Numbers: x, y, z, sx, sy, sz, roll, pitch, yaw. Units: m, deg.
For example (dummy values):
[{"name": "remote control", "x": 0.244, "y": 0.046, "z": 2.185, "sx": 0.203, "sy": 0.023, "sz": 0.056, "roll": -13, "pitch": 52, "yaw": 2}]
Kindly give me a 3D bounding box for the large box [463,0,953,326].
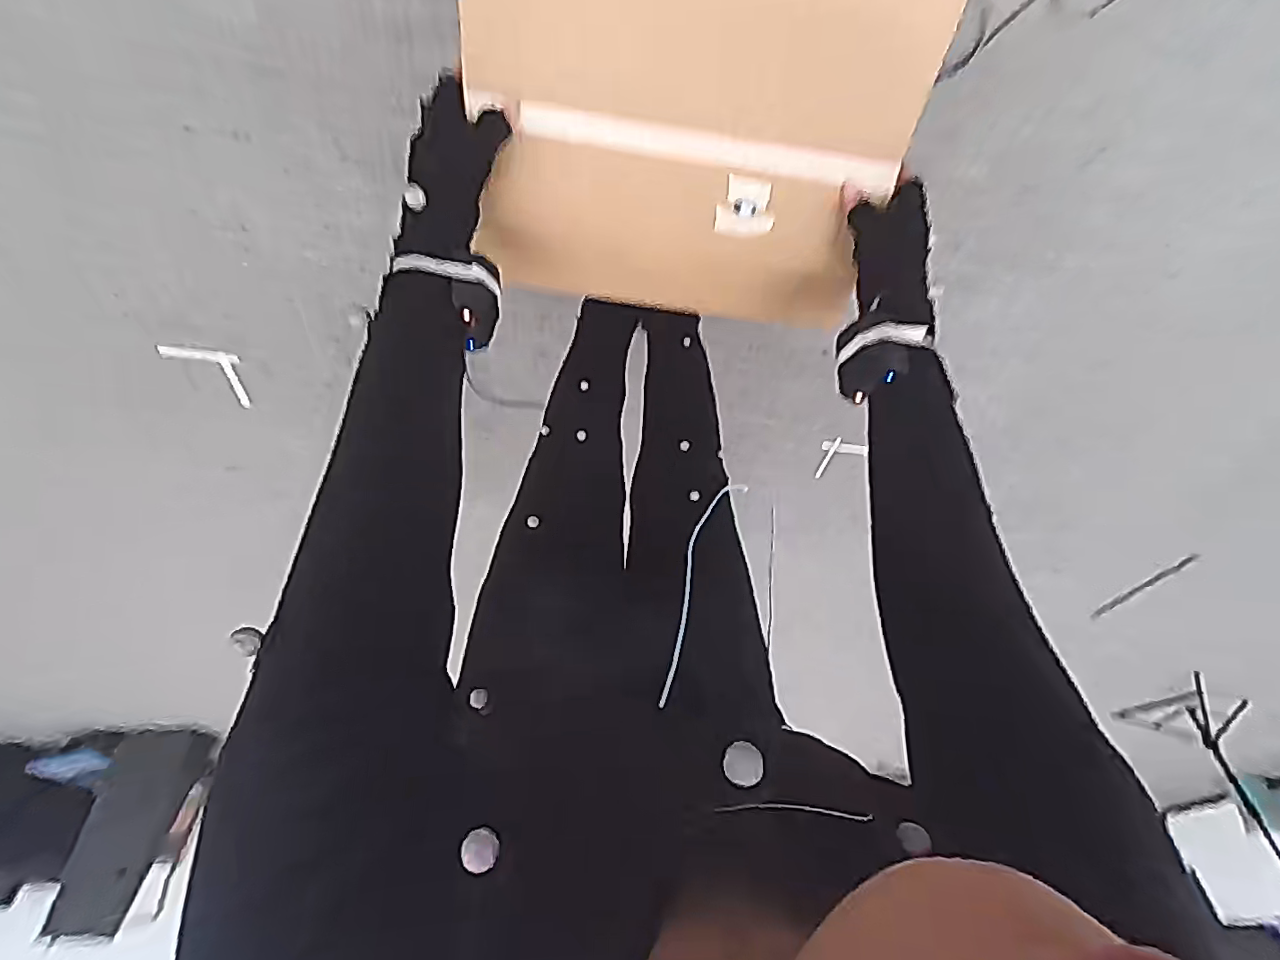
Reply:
[{"name": "large box", "x": 0.039, "y": -0.405, "z": 0.620, "sx": 0.408, "sy": 0.320, "sz": 0.320, "roll": 6, "pitch": 129, "yaw": -6}]
